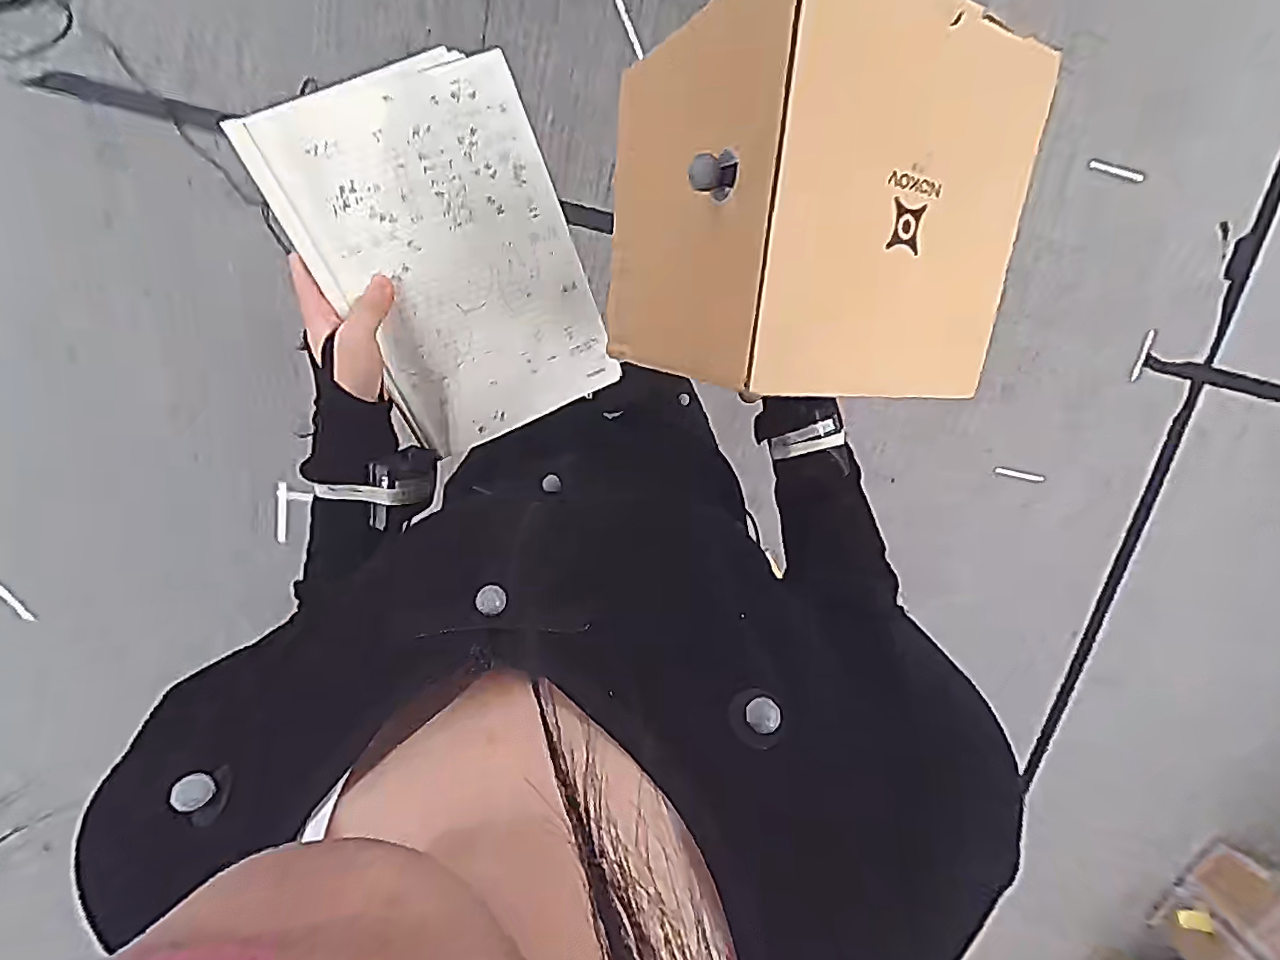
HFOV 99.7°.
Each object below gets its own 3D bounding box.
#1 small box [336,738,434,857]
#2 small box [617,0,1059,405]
[{"bbox_3d":[-0.591,0.730,1.244,0.168,0.176,0.179,16,102,-7],"label":"small box"},{"bbox_3d":[0.094,-0.147,0.327,0.168,0.176,0.179,-3,107,-26],"label":"small box"}]
